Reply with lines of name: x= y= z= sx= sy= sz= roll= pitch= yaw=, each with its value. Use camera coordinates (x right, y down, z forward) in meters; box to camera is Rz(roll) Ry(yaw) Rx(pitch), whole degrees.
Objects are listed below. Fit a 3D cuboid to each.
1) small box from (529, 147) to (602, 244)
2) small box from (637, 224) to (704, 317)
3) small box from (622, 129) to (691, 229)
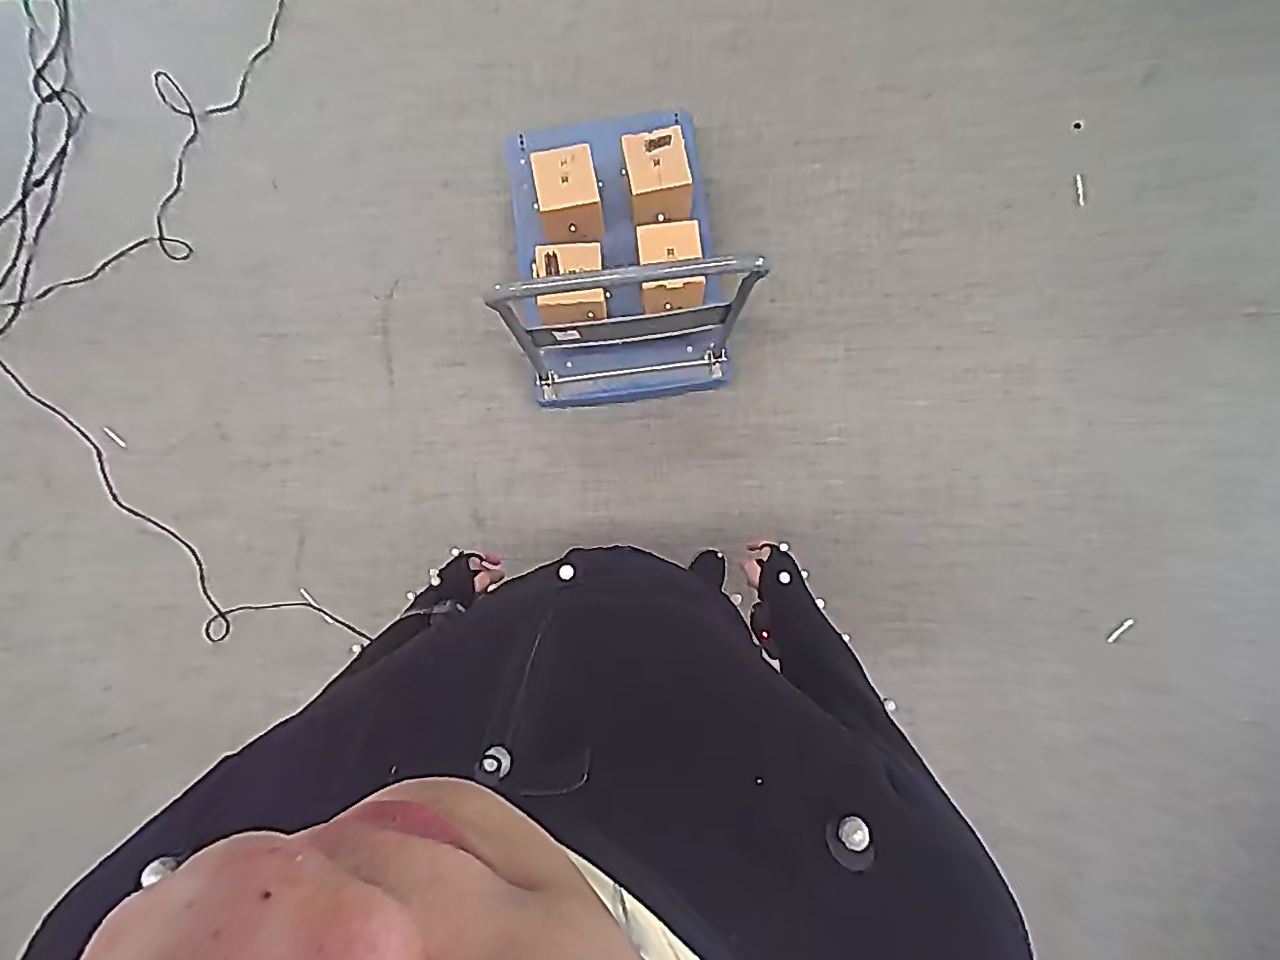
small box: x=-0.204 y=-0.792 z=1.528 sx=0.168 sy=0.176 sz=0.179 roll=-11 pitch=83 yaw=-1
small box: x=0.079 y=-0.575 z=1.498 sx=0.168 sy=0.176 sz=0.179 roll=-6 pitch=83 yaw=0
small box: x=0.044 y=-0.842 z=1.530 sx=0.168 sy=0.176 sz=0.179 roll=-11 pitch=84 yaw=0
